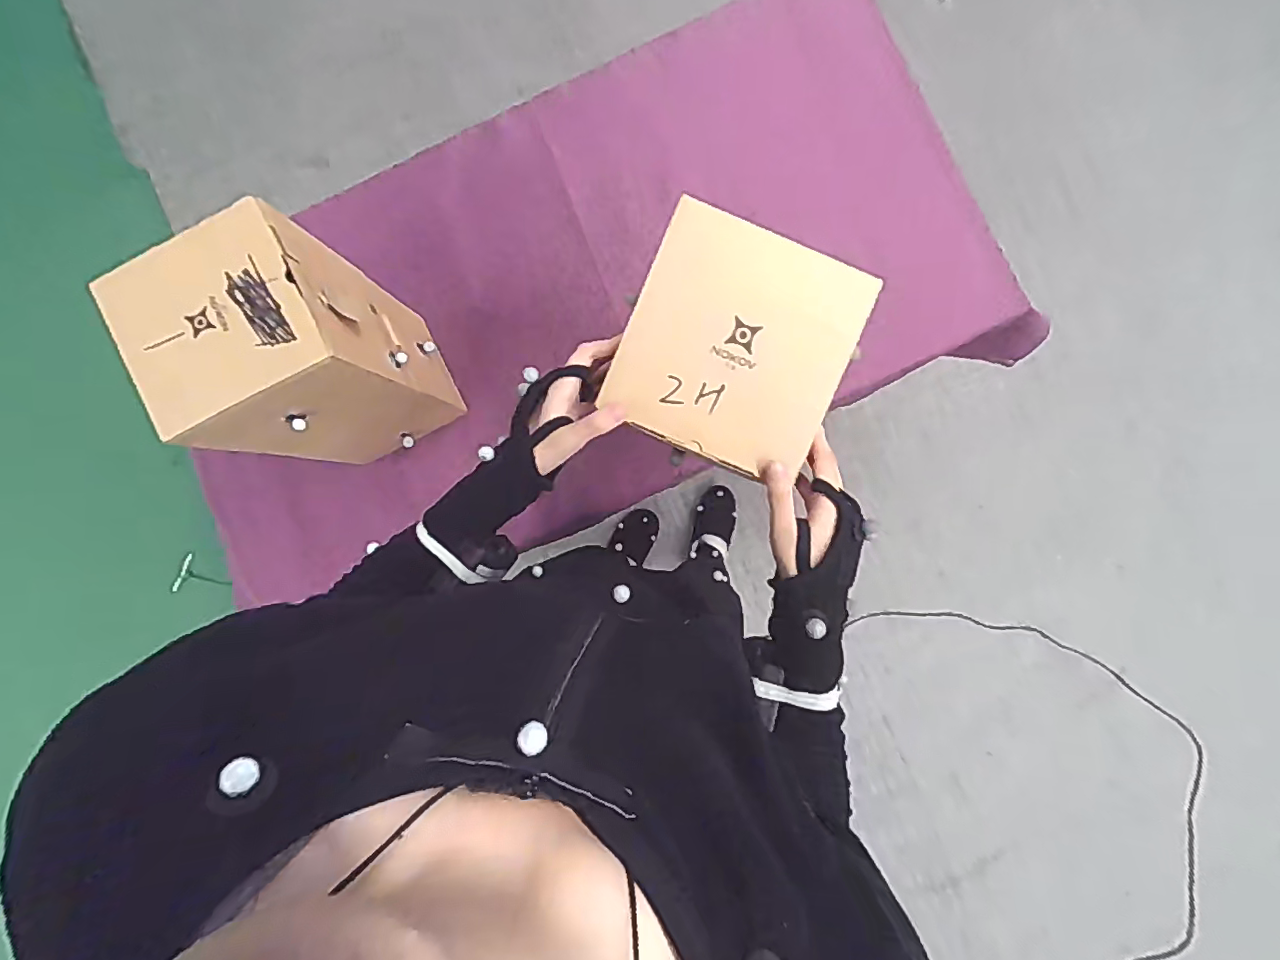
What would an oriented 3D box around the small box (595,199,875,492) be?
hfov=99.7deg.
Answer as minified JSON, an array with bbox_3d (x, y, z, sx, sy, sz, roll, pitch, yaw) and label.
[{"bbox_3d":[0.072,-0.109,0.495,0.168,0.176,0.179,25,95,-1],"label":"small box"}]

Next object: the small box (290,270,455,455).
[{"bbox_3d":[-0.375,-0.145,0.732,0.179,0.176,0.168,-27,88,2],"label":"small box"}]

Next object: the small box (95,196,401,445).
[{"bbox_3d":[-0.382,-0.148,0.567,0.179,0.176,0.168,-26,88,3],"label":"small box"}]
